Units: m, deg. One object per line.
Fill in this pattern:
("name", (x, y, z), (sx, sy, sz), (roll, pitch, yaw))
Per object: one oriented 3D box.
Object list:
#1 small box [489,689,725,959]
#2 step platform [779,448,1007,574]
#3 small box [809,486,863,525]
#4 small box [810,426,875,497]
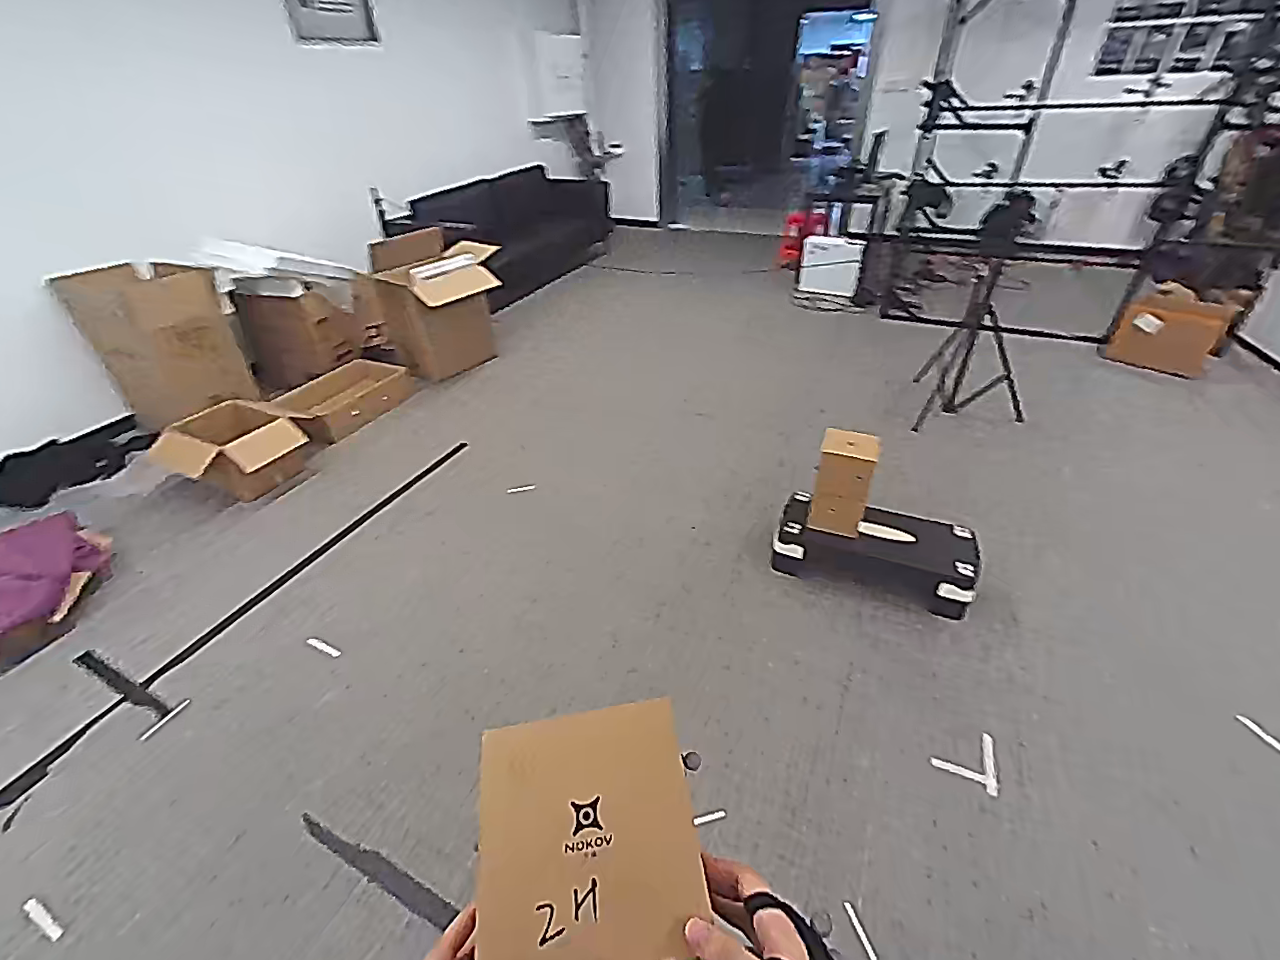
("small box", (-0.028, 0.314, 0.483), (0.168, 0.176, 0.179), (-9, 49, -2))
("step platform", (0.834, 0.093, 1.858), (0.684, 0.204, 0.286), (13, 39, 20))
("small box", (0.703, 0.068, 1.959), (0.179, 0.176, 0.168), (11, 39, 19))
("small box", (0.697, -0.062, 1.861), (0.179, 0.176, 0.168), (11, 38, 18))
